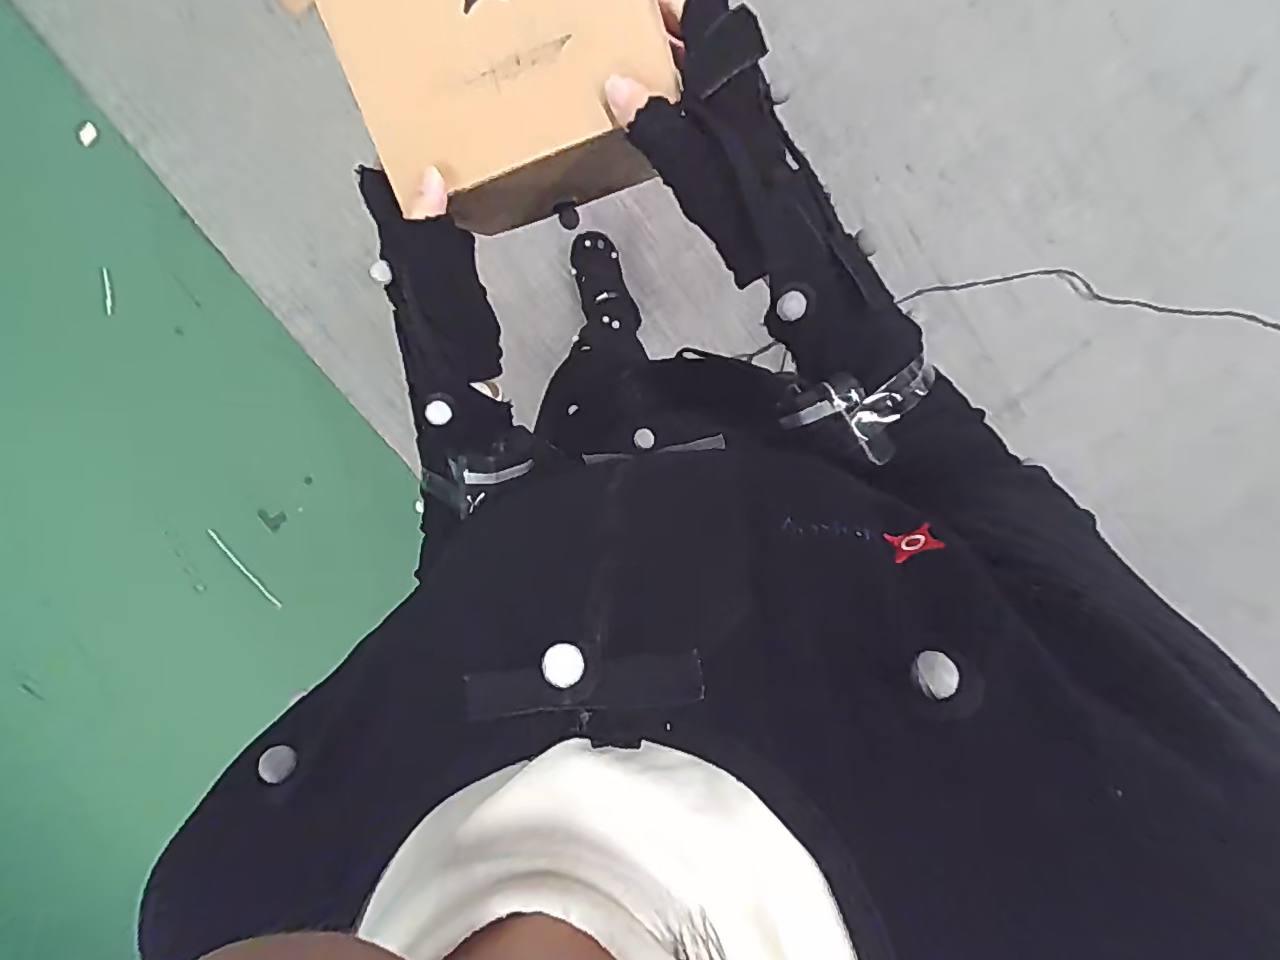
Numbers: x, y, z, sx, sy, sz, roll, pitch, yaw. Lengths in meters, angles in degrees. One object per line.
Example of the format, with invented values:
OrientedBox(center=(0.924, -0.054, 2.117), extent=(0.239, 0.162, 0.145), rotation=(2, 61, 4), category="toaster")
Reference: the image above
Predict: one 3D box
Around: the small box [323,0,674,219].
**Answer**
OrientedBox(center=(-0.080, -0.291, 0.344), extent=(0.168, 0.176, 0.179), rotation=(-15, 107, 10), category="small box")
